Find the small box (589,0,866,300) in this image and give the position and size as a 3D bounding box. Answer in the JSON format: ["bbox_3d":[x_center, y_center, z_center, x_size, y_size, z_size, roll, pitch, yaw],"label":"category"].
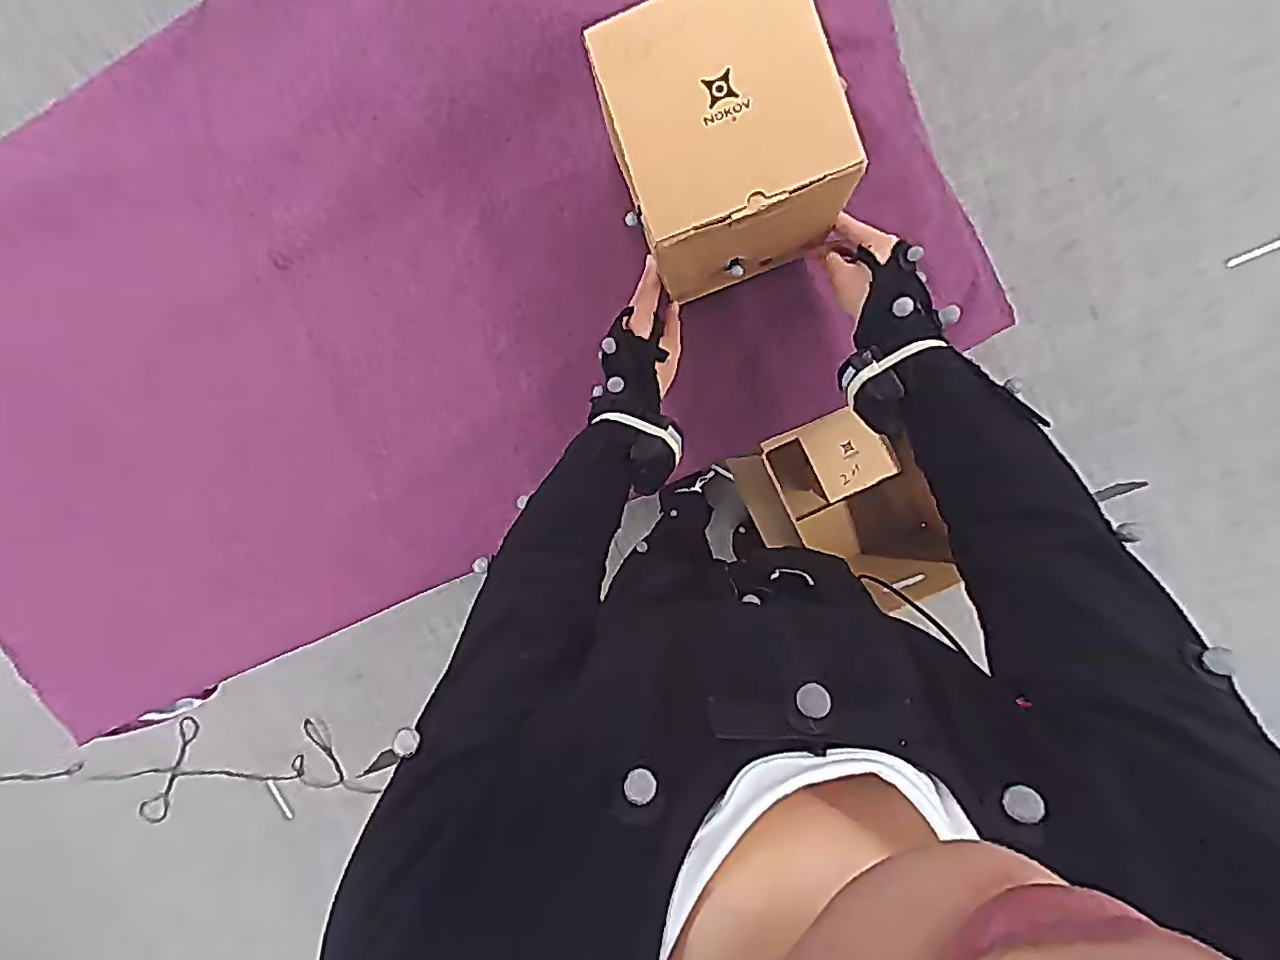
[{"bbox_3d":[0.070,-0.288,0.480,0.168,0.176,0.179,-19,90,8],"label":"small box"}]
